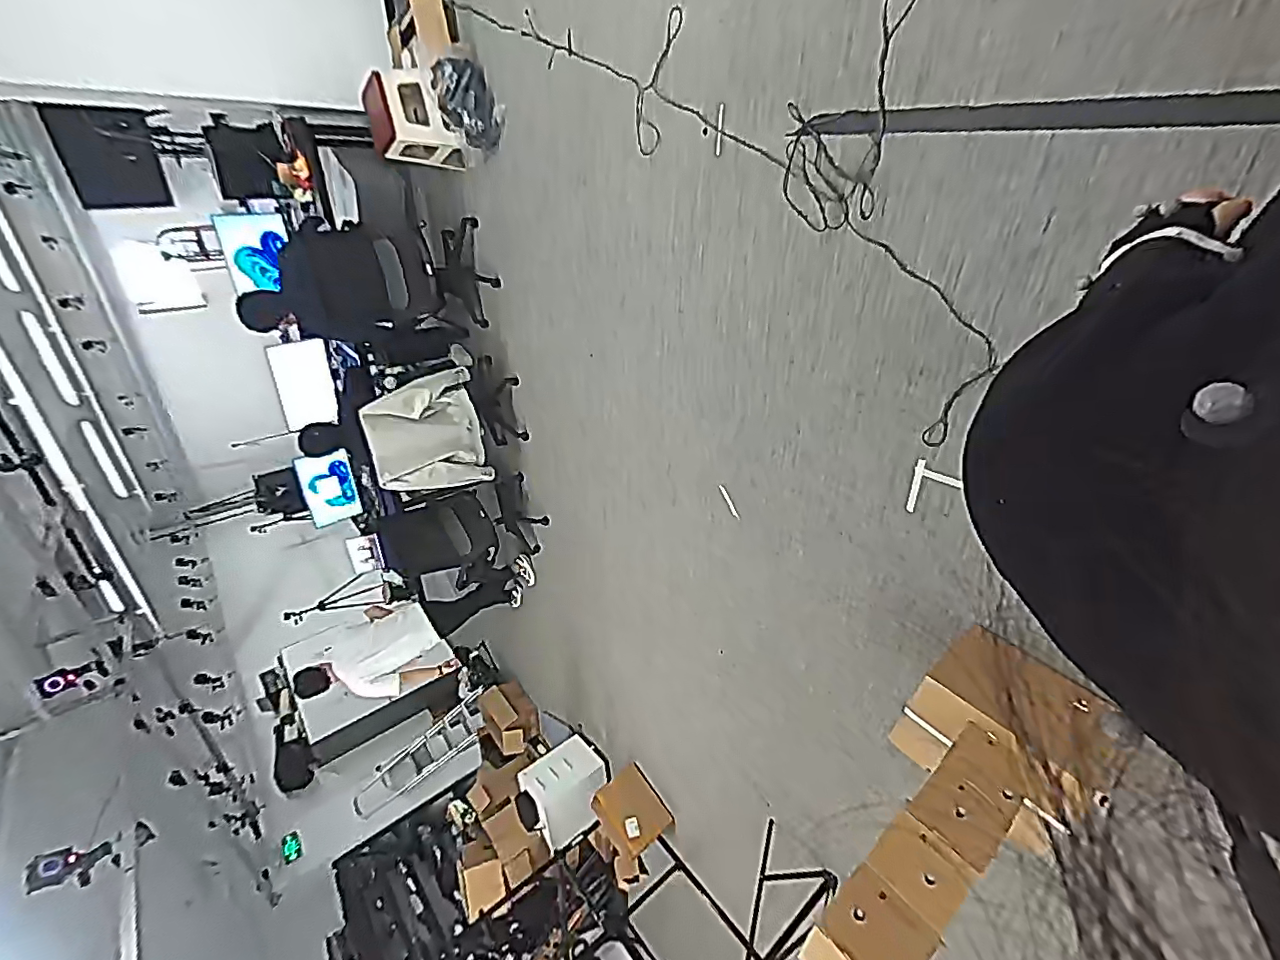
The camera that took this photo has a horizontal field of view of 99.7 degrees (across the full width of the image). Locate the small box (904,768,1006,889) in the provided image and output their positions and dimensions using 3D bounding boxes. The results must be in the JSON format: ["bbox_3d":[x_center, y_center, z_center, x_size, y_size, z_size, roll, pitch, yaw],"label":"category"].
[{"bbox_3d":[0.687,0.797,1.218,0.168,0.176,0.179,36,134,38],"label":"small box"}]

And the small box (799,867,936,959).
[{"bbox_3d":[0.436,0.900,1.038,0.168,0.176,0.179,34,135,41],"label":"small box"}]

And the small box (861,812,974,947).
[{"bbox_3d":[0.561,0.844,1.126,0.168,0.176,0.179,33,134,39],"label":"small box"}]
